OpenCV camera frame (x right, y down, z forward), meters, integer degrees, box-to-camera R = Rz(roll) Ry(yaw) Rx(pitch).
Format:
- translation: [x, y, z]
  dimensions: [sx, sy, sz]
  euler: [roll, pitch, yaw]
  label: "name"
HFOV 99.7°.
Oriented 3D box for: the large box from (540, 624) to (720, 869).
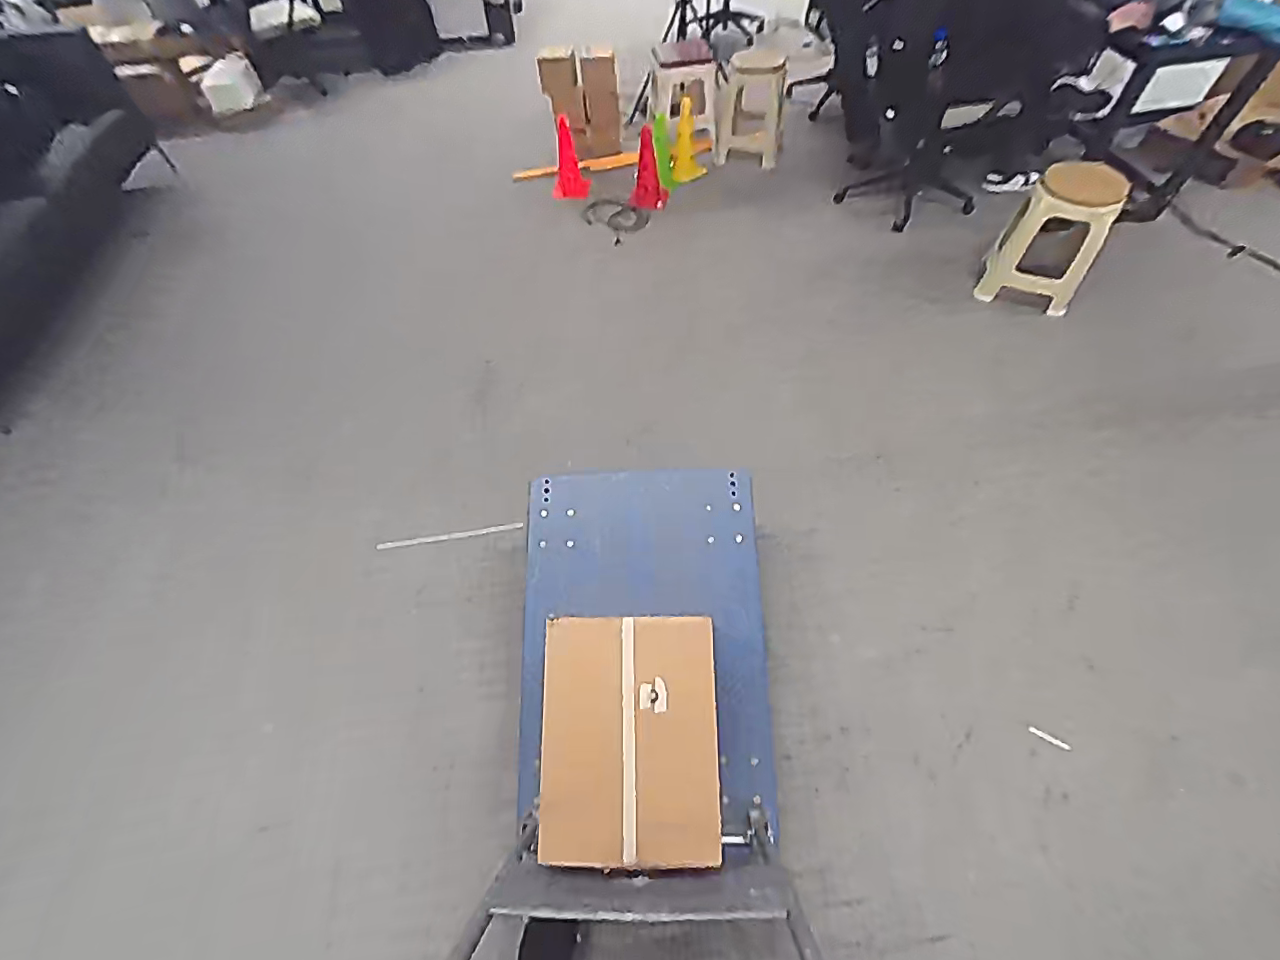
- translation: [-0.013, 0.516, 1.117]
  dimensions: [0.320, 0.320, 0.408]
  euler: [-2, 73, 3]
  label: "large box"
